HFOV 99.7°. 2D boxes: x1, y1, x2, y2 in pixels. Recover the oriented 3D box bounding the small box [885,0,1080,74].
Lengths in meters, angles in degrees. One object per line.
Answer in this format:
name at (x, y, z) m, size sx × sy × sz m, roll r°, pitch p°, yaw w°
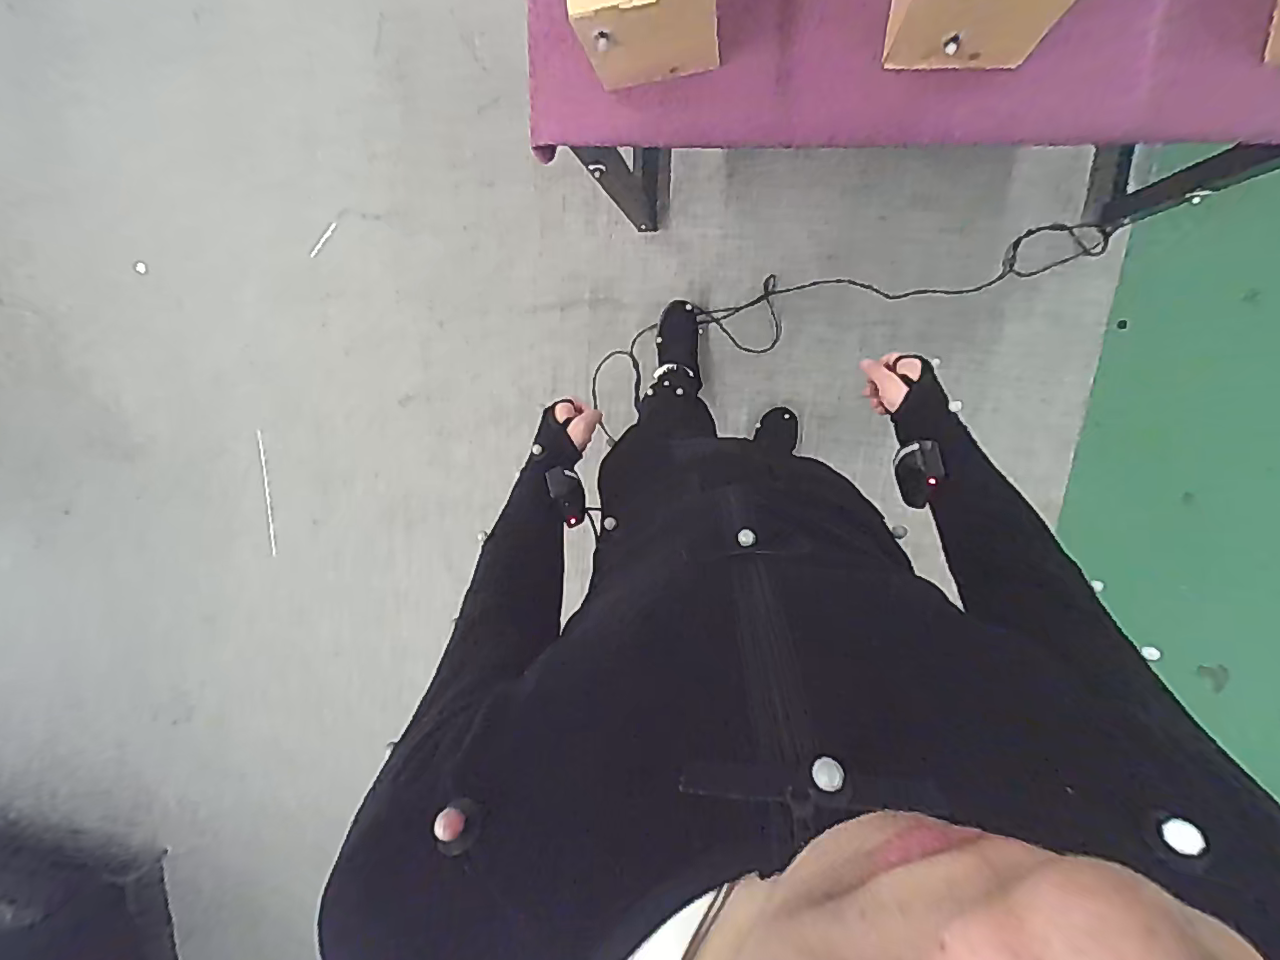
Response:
small box at (0.392, -0.600, 0.607) m, size 0.168 × 0.176 × 0.179 m, roll 7°, pitch 104°, yaw 8°
